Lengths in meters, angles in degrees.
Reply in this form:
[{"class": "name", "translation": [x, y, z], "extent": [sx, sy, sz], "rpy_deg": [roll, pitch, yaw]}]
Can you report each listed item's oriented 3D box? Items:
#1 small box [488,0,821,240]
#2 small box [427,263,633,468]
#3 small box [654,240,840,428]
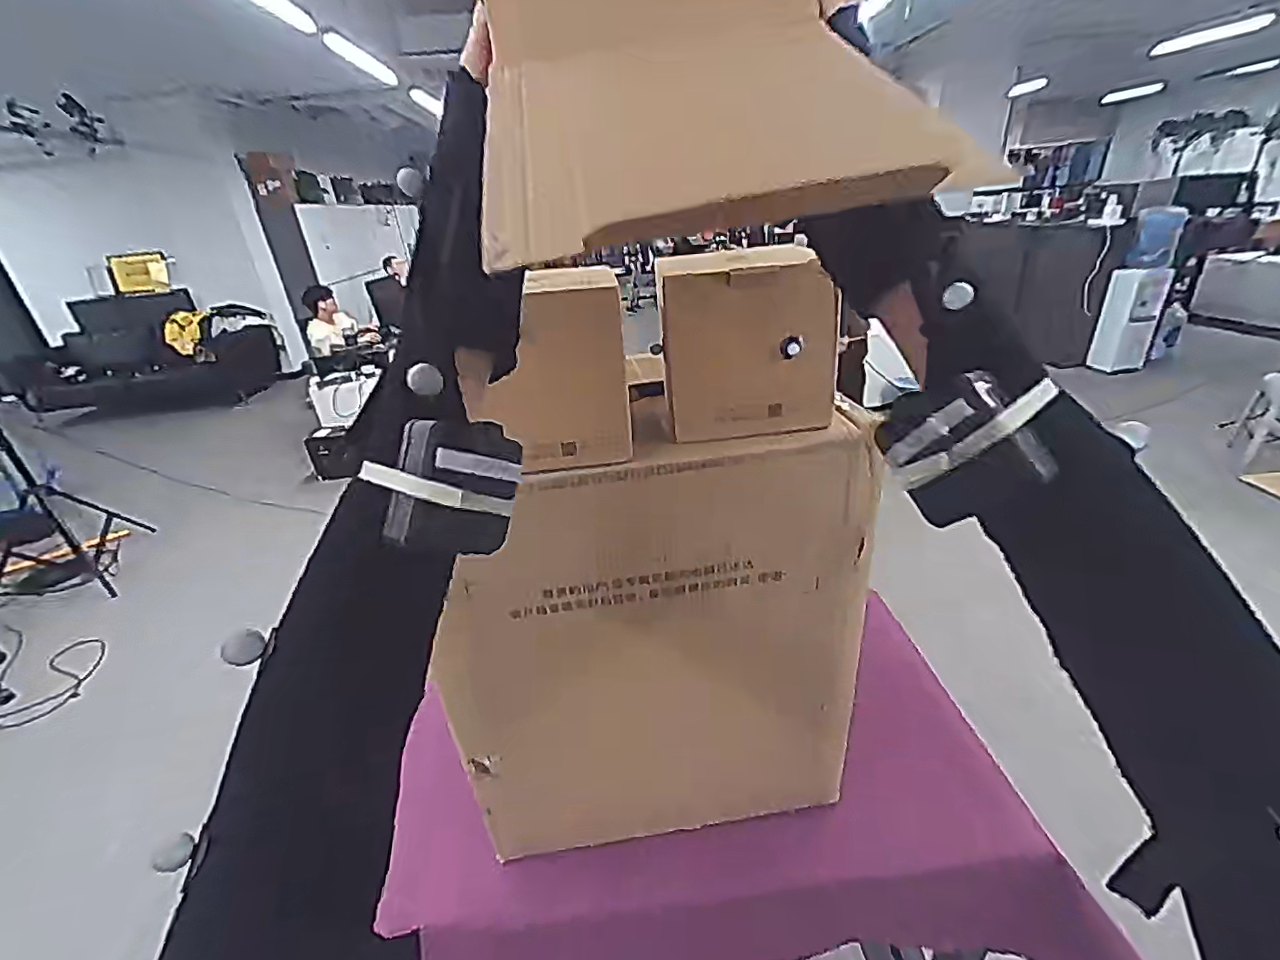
[{"class": "small box", "translation": [-0.005, -0.292, 0.354], "extent": [0.168, 0.179, 0.176], "rpy_deg": [-10, -7, -1]}, {"class": "small box", "translation": [-0.100, -0.125, 0.559], "extent": [0.168, 0.176, 0.179], "rpy_deg": [-7, 26, -4]}, {"class": "small box", "translation": [0.107, -0.160, 0.594], "extent": [0.168, 0.176, 0.179], "rpy_deg": [-5, 26, 1]}]
